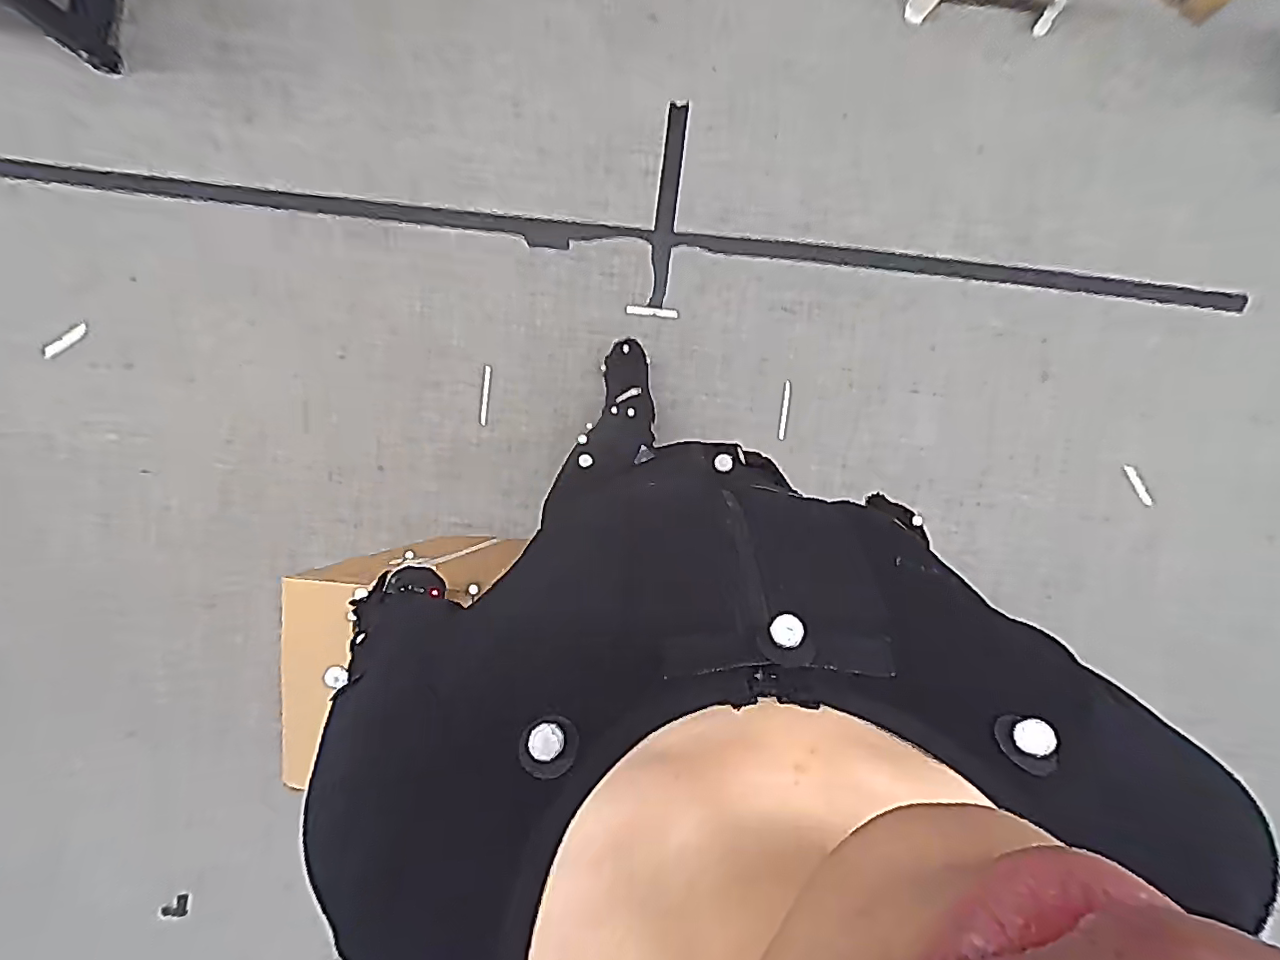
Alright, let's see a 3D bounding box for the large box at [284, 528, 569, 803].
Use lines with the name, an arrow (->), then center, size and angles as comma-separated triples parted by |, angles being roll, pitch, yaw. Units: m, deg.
large box -> -0.334, 0.275, 0.950 | 0.320, 0.408, 0.320 | 2, 94, 12
